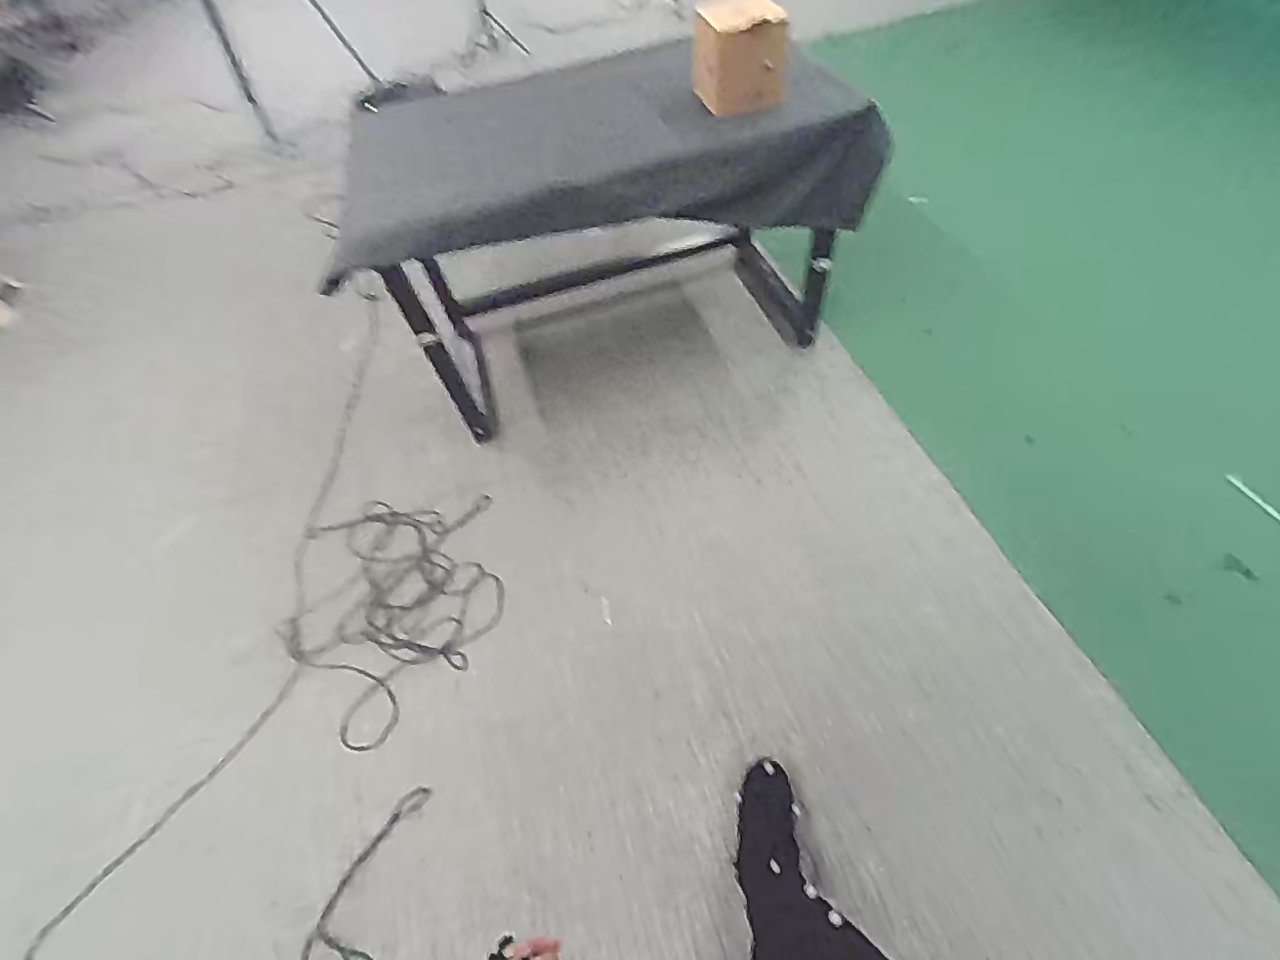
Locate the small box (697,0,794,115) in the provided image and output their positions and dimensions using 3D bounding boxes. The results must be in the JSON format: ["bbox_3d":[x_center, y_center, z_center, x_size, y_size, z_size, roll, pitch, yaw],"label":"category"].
[{"bbox_3d":[0.236,-0.970,1.248,0.168,0.176,0.179,-15,54,-4],"label":"small box"}]
